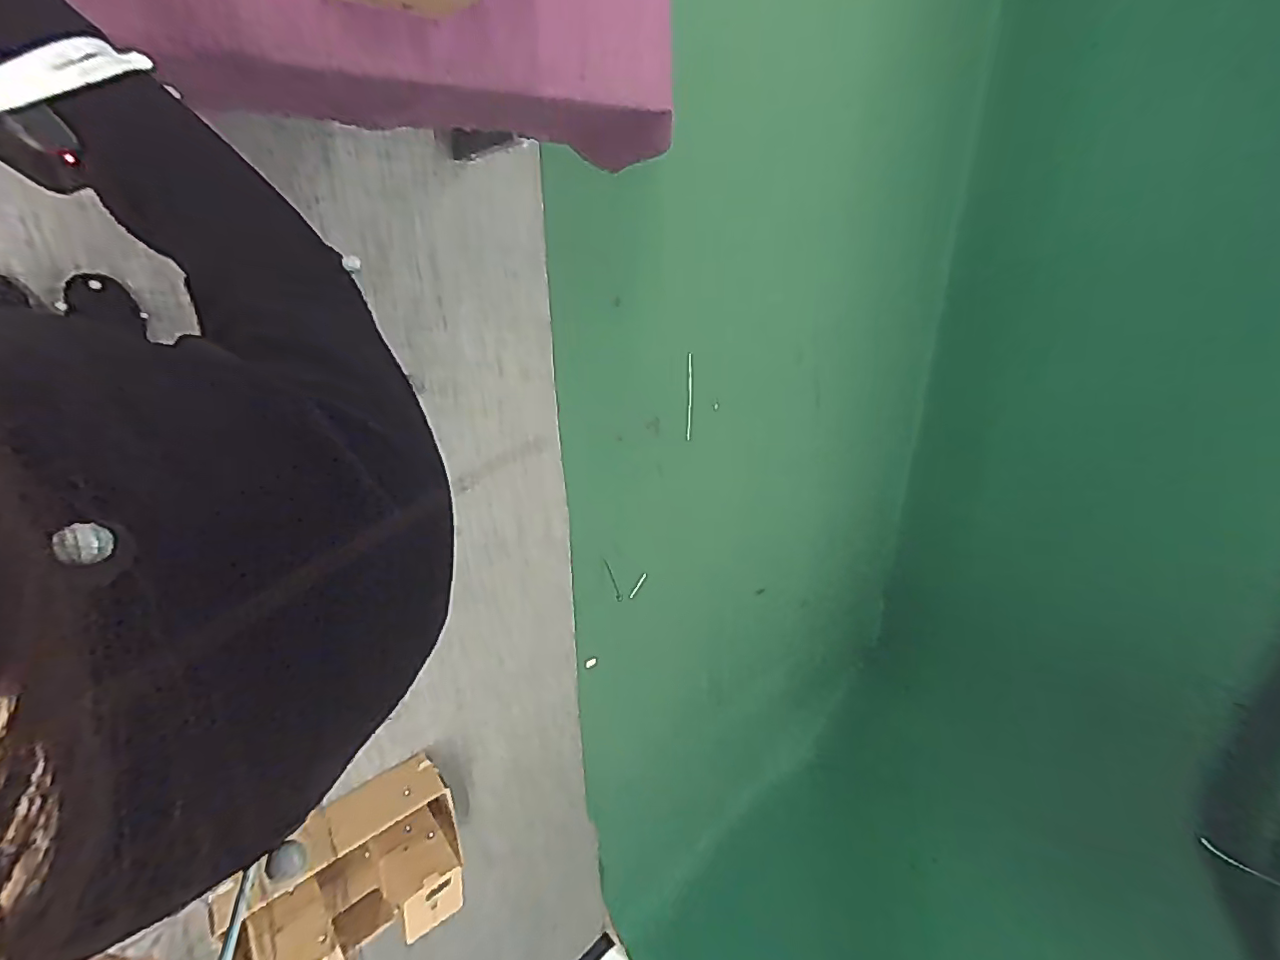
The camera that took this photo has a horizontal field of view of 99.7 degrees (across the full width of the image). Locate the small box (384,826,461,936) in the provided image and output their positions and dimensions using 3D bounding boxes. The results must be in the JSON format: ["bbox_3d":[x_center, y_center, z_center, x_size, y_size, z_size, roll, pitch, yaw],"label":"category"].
[{"bbox_3d":[-0.646,1.172,1.604,0.168,0.176,0.179,-12,115,-40],"label":"small box"}]
